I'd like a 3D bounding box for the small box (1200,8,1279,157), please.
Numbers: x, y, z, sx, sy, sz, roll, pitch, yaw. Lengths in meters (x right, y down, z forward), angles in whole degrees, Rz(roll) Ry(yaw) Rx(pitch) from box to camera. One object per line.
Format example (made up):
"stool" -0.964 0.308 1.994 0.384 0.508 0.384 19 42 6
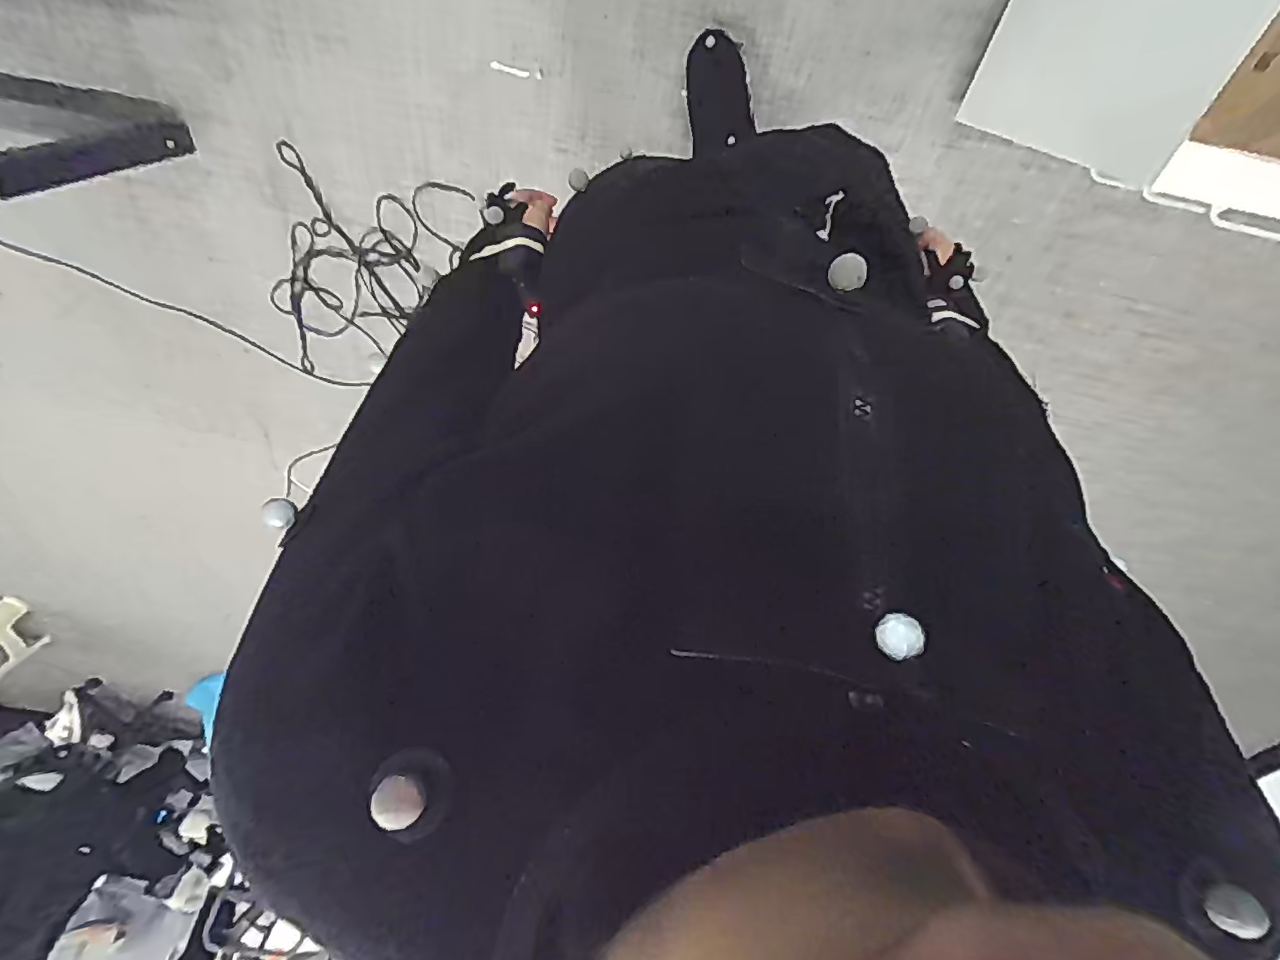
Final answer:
"small box" 0.613 -0.322 0.403 0.179 0.176 0.168 11 130 -3
